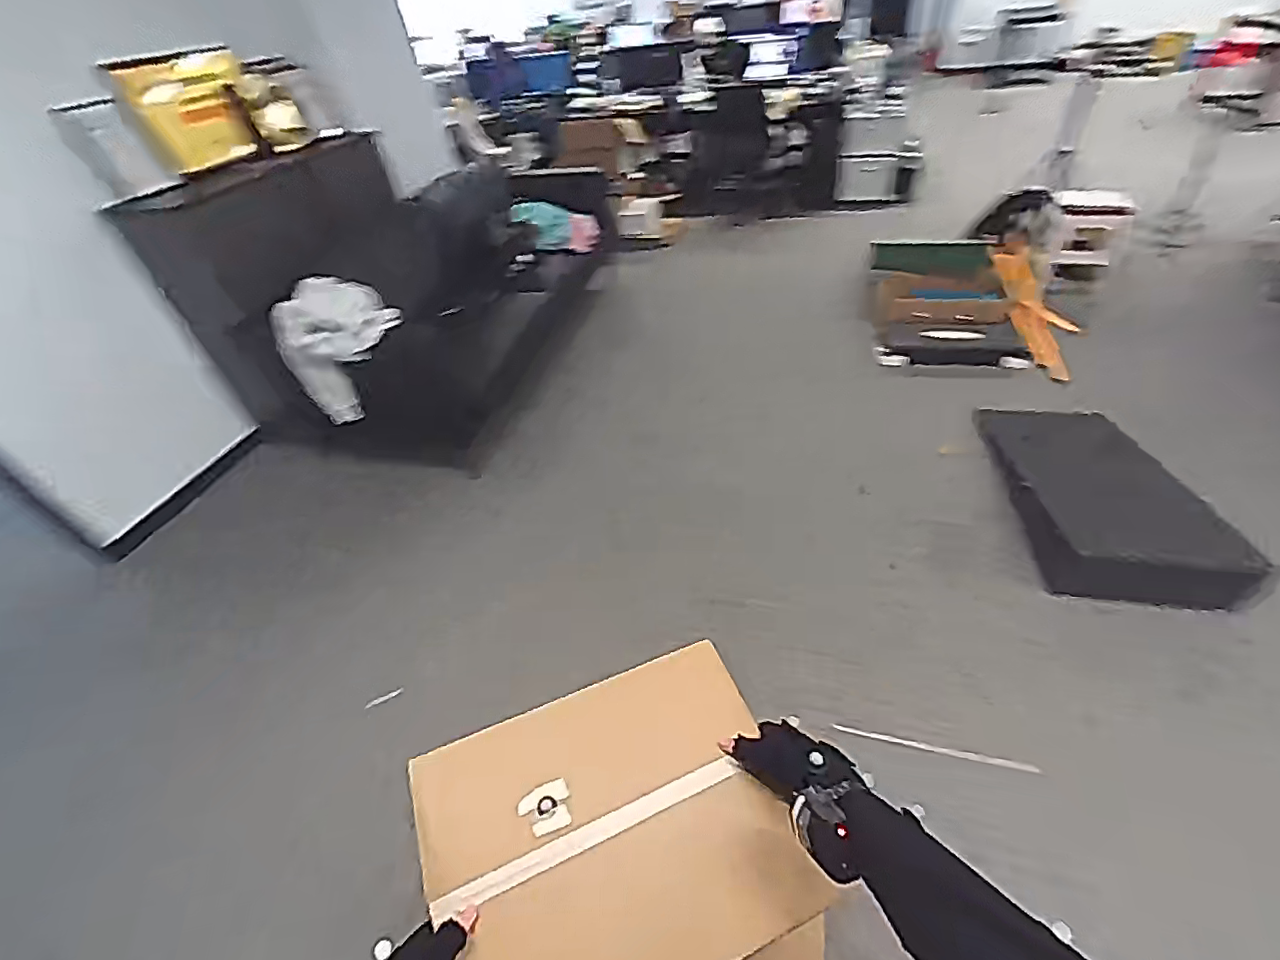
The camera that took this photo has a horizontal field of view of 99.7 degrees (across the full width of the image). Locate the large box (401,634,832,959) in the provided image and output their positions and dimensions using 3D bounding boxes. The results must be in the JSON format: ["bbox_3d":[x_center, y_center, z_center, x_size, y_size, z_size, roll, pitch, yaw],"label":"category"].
[{"bbox_3d":[-0.039,0.469,0.713,0.408,0.320,0.320,-18,54,-17],"label":"large box"}]
